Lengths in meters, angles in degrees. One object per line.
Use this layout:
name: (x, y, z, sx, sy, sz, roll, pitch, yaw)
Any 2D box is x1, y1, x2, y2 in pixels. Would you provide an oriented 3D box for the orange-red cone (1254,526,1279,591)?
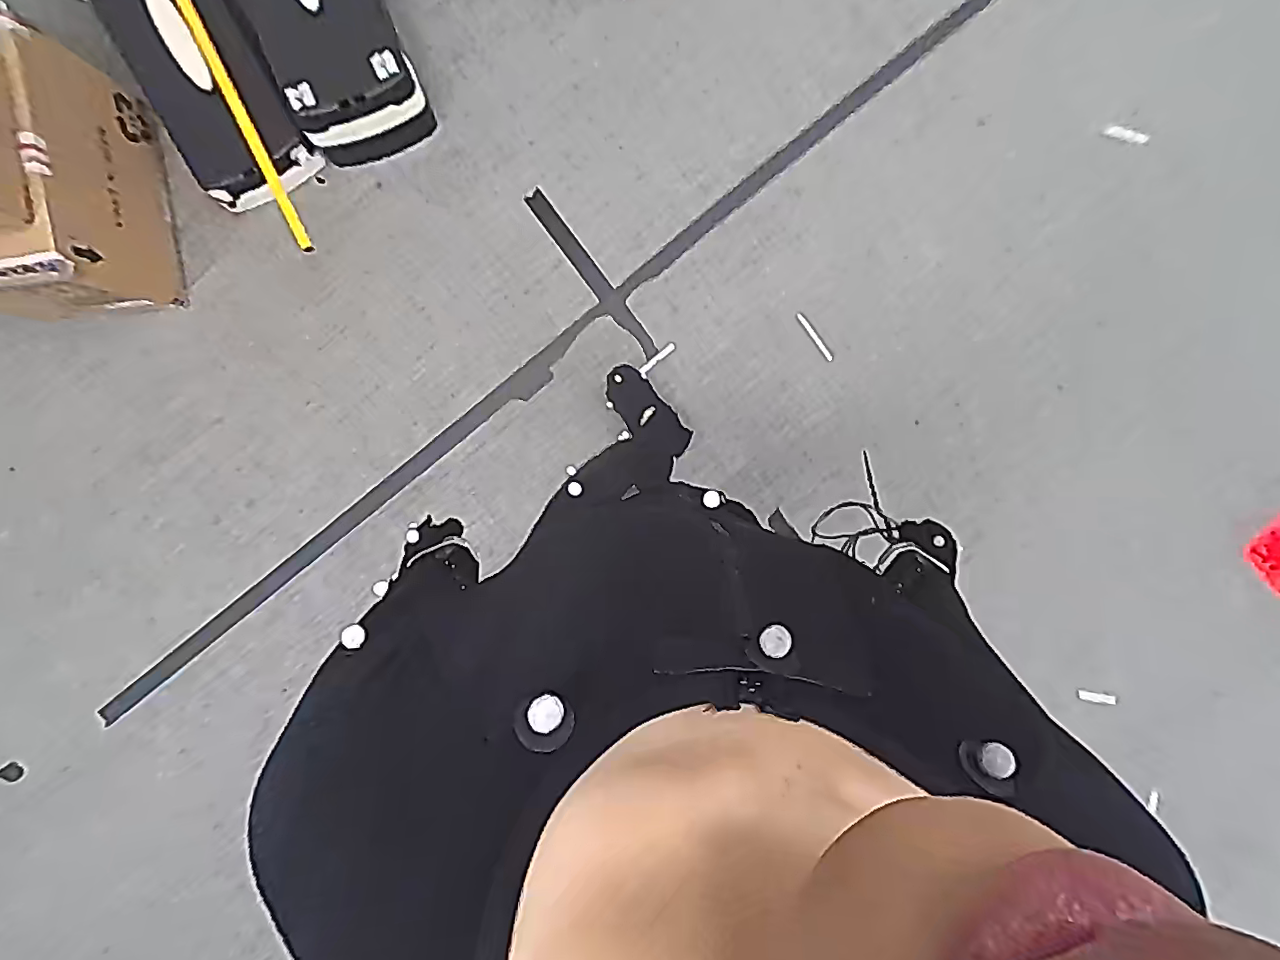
orange-red cone: (1.904, 0.228, 1.397, 0.198, 0.360, 0.199, -43, 94, 0)
